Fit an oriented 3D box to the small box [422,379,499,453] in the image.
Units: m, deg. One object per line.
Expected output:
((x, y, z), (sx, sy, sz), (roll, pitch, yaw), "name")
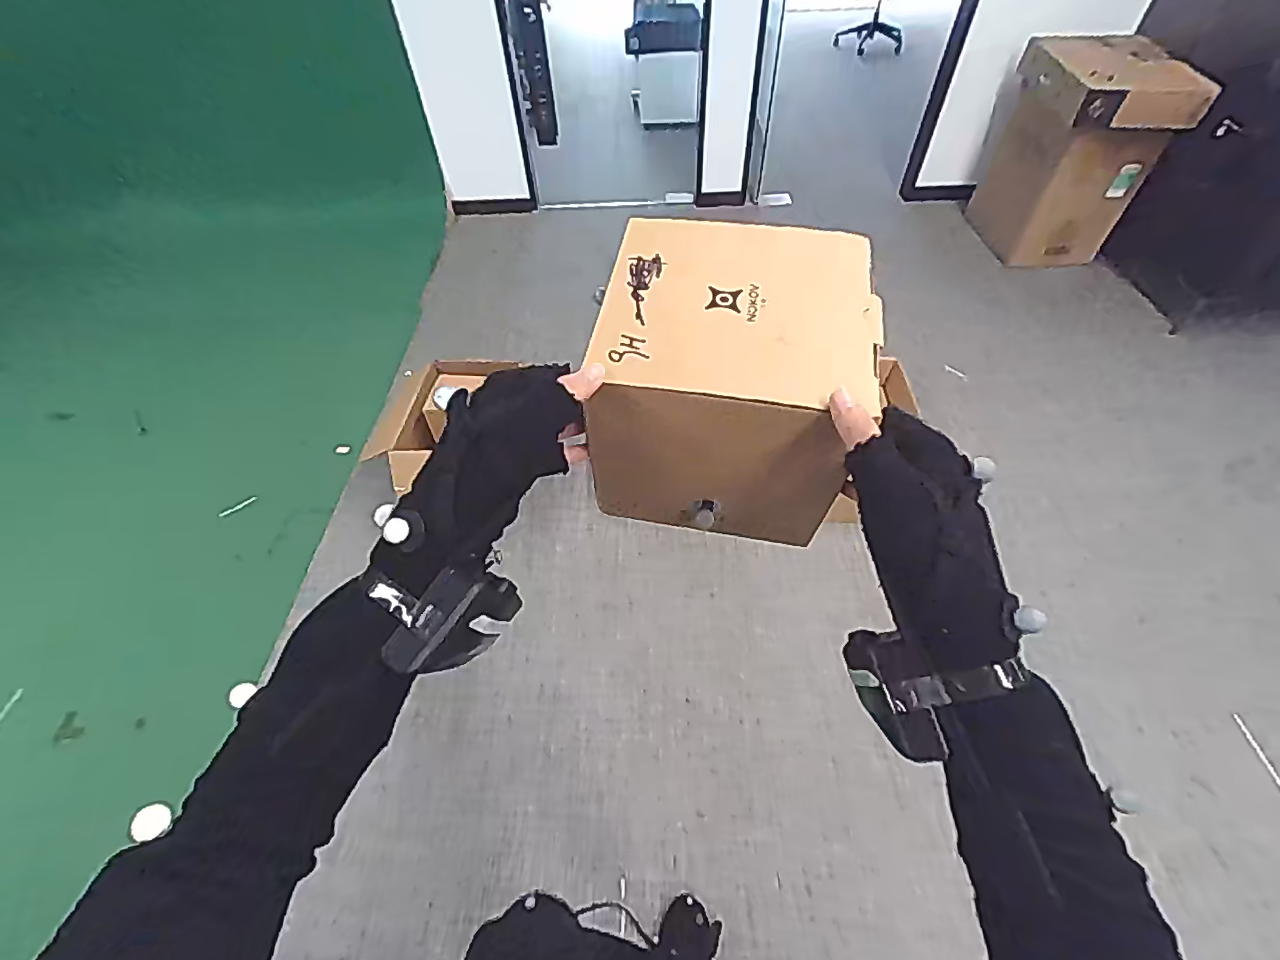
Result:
((-0.563, -0.202, 1.729), (0.179, 0.176, 0.168), (4, 50, 3), "small box")

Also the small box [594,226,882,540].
((0.070, -0.068, 0.431), (0.179, 0.176, 0.168), (10, 57, 5), "small box")
